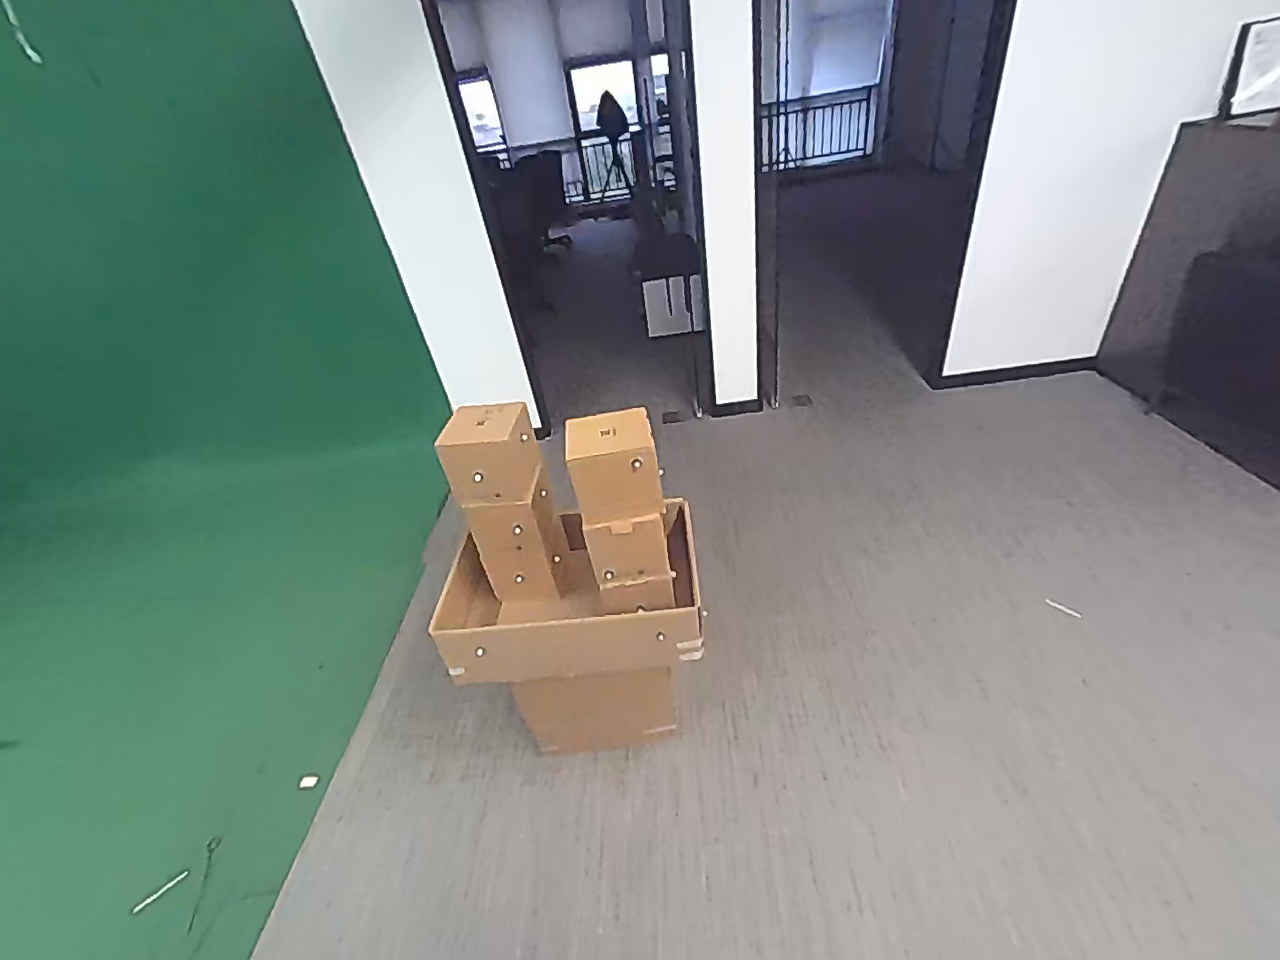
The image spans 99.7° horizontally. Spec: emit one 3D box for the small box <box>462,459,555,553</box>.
[{"bbox_3d":[-0.317,0.070,1.350,0.168,0.176,0.179,-4,36,5],"label":"small box"}]

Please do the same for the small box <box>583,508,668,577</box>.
[{"bbox_3d":[-0.031,0.106,1.231,0.168,0.176,0.179,-8,36,2],"label":"small box"}]

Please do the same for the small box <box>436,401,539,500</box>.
[{"bbox_3d":[-0.343,-0.064,1.258,0.168,0.176,0.179,-2,36,7],"label":"small box"}]

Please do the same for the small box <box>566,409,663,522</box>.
[{"bbox_3d":[-0.053,-0.029,1.143,0.179,0.176,0.168,-9,35,-1],"label":"small box"}]
